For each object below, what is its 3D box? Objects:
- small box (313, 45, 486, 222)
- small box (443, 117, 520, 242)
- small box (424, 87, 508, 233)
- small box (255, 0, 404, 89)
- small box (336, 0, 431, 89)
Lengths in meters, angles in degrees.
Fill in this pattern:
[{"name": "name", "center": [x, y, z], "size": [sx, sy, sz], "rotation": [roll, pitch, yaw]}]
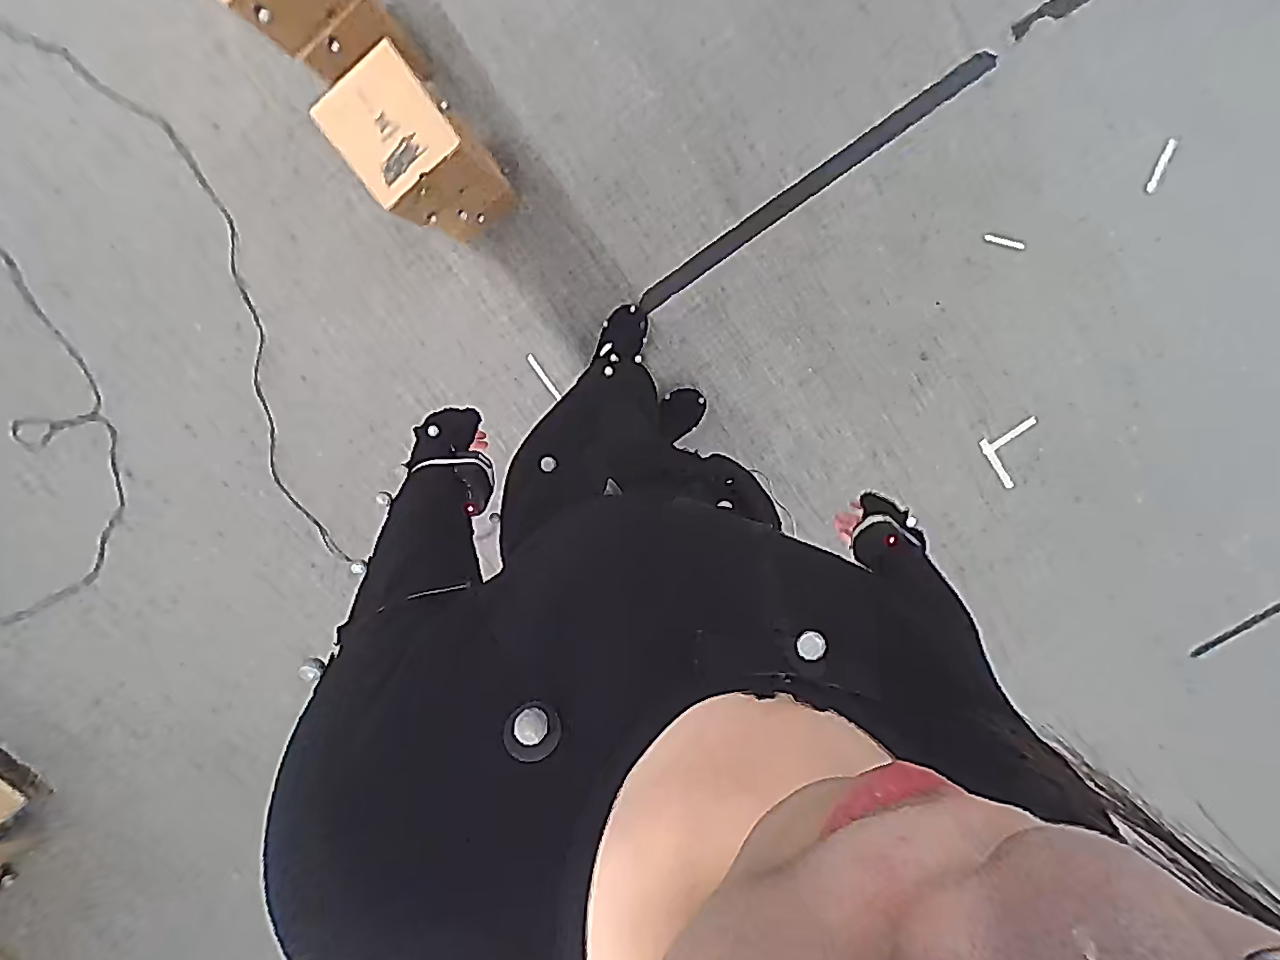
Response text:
[{"name": "small box", "center": [-0.391, -0.566, 0.918], "size": [0.168, 0.176, 0.179], "rotation": [-35, 103, 9]}, {"name": "small box", "center": [-0.398, -0.668, 1.229], "size": [0.179, 0.176, 0.168], "rotation": [-32, 105, 7]}, {"name": "small box", "center": [-0.390, -0.617, 1.075], "size": [0.168, 0.176, 0.179], "rotation": [-36, 104, 9]}, {"name": "small box", "center": [-0.579, -0.867, 0.996], "size": [0.168, 0.176, 0.179], "rotation": [-36, 103, 9]}, {"name": "small box", "center": [-0.584, -0.918, 1.152], "size": [0.179, 0.176, 0.168], "rotation": [-36, 104, 8]}]
